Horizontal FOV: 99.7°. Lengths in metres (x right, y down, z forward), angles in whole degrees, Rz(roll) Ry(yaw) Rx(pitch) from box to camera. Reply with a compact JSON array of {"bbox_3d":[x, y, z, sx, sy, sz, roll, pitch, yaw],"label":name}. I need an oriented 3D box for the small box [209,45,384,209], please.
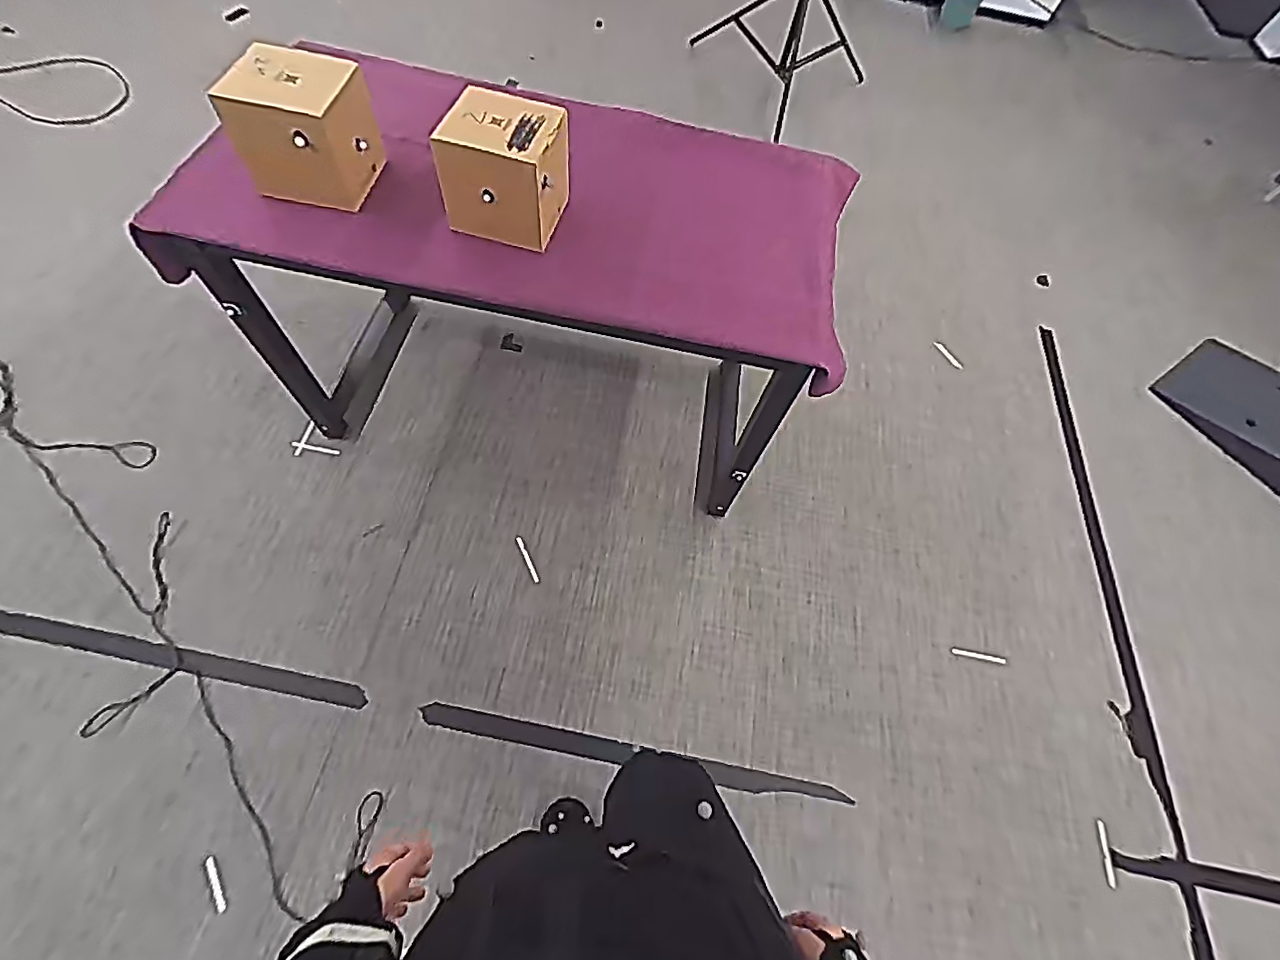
[{"bbox_3d":[-0.572,-0.600,0.934,0.179,0.176,0.168,9,61,-2],"label":"small box"}]
